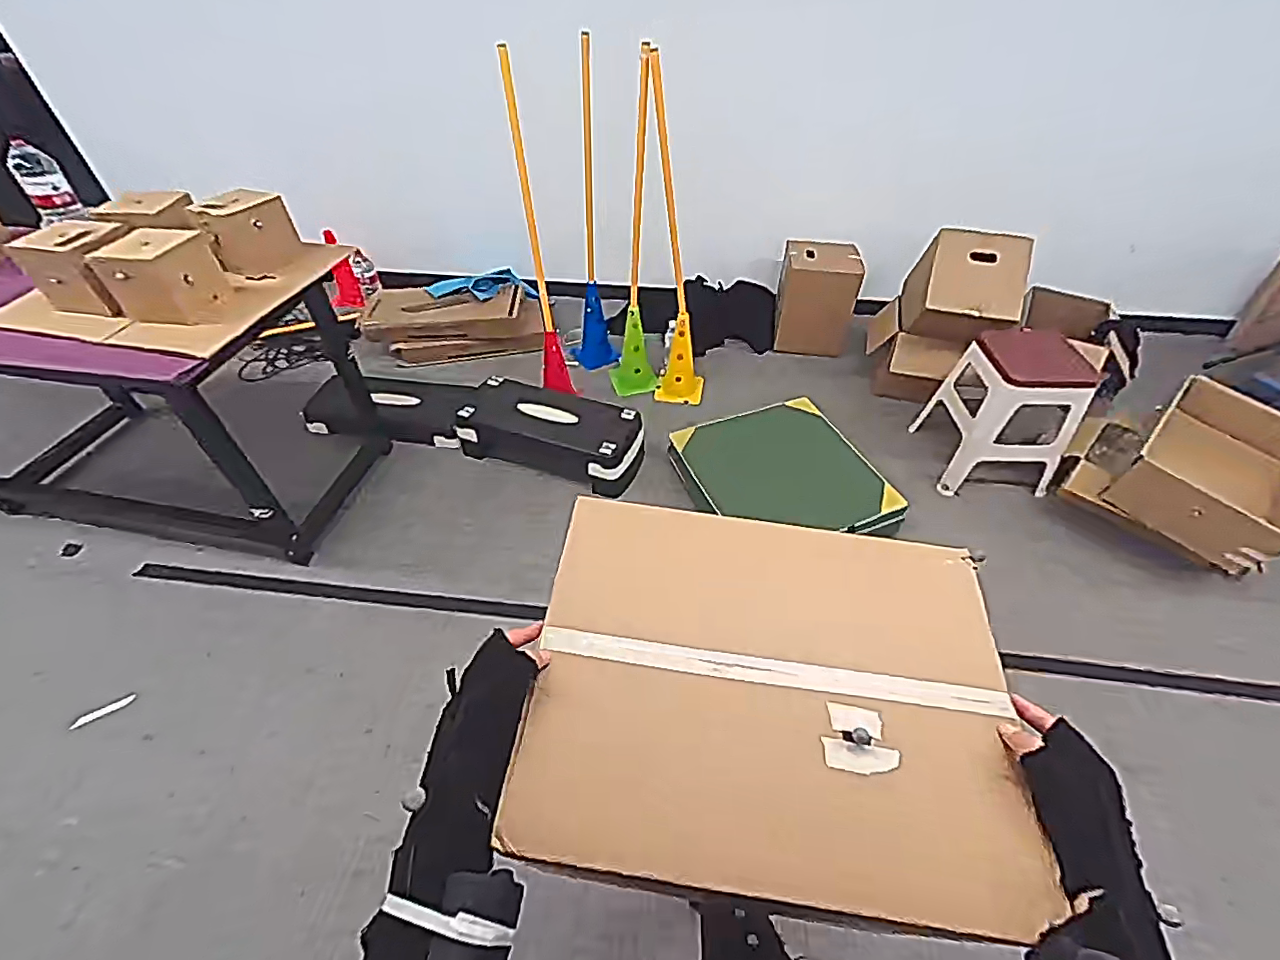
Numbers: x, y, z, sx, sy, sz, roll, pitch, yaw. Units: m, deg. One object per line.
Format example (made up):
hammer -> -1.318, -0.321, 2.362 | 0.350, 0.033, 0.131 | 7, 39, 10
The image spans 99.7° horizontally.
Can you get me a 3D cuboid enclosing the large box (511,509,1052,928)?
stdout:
large box -> 0.108, 0.264, 0.597 | 0.408, 0.320, 0.320 | 8, 53, 2
